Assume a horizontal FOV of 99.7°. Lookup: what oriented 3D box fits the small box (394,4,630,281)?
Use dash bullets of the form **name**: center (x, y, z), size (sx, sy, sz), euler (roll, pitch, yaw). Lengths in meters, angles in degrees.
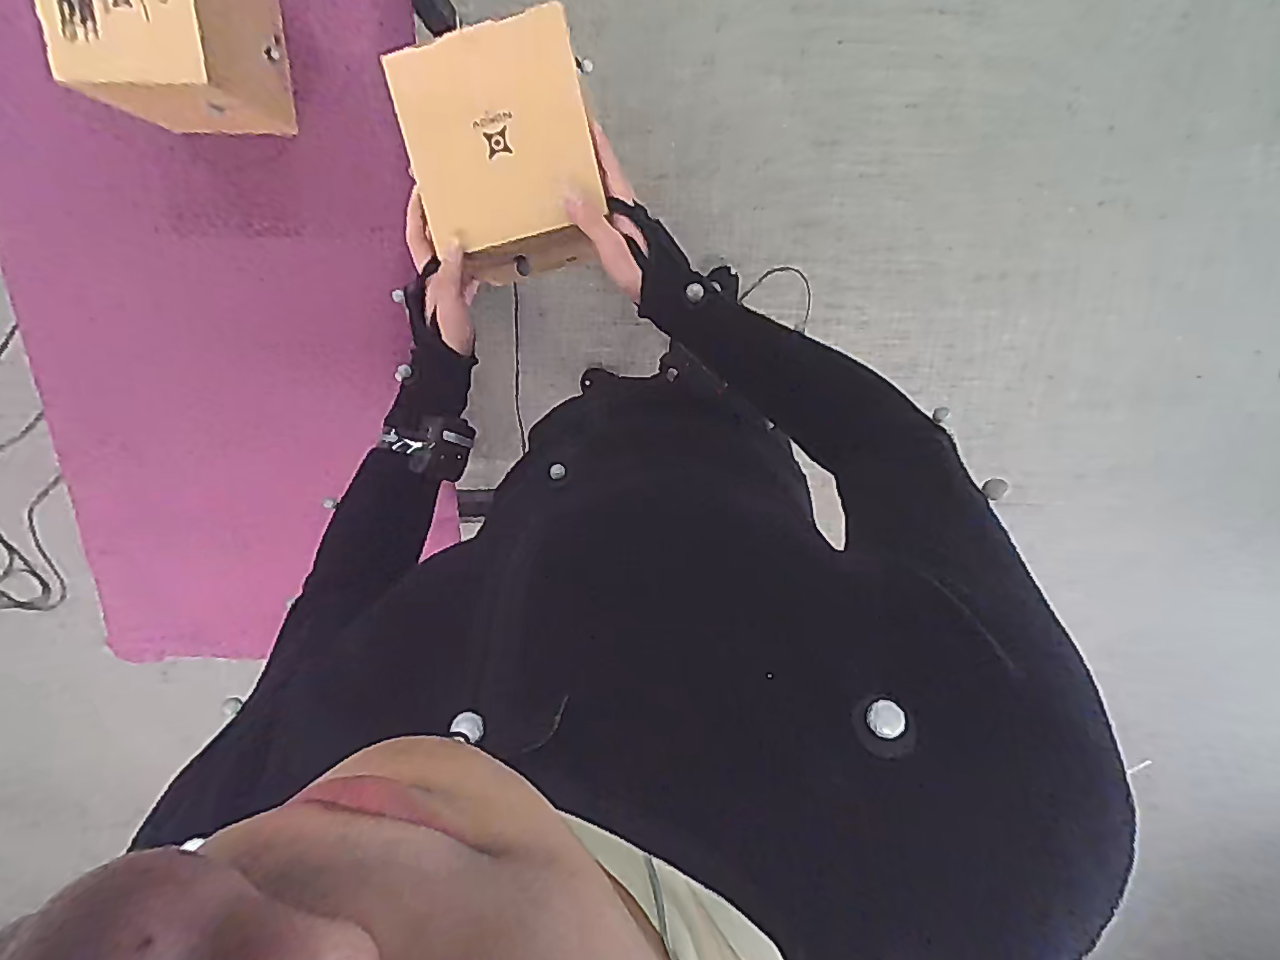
- **small box**: center (-0.110, -0.313, 0.551), size (0.168, 0.176, 0.179), euler (-13, 99, 5)
